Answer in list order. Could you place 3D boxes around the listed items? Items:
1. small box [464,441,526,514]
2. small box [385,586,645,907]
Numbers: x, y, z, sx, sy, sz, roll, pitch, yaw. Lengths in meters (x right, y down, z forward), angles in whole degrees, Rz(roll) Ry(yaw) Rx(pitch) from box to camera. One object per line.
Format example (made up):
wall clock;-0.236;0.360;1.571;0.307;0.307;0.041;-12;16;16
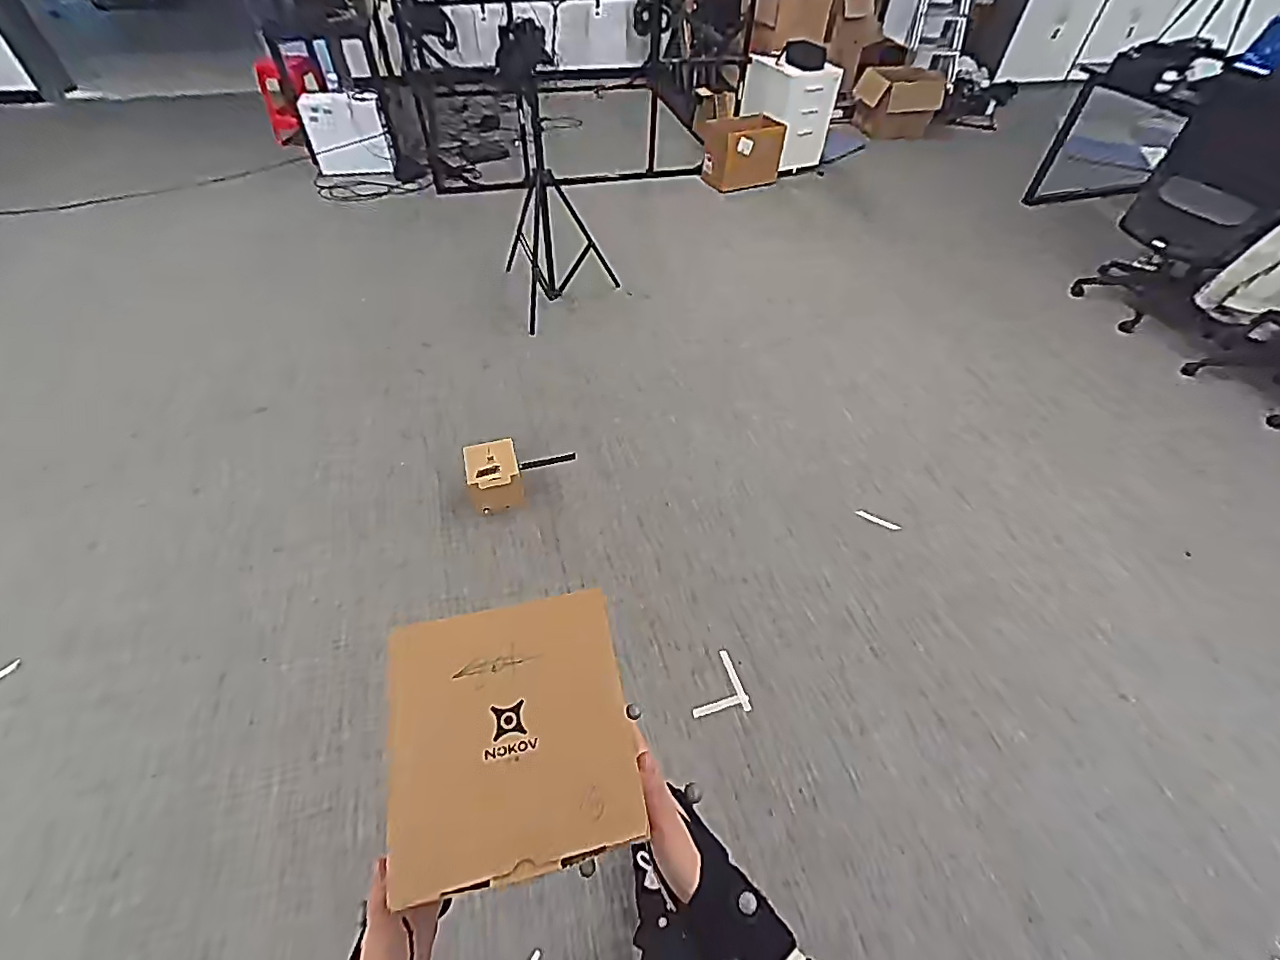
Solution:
small box;-0.489;-0.002;1.838;0.168;0.176;0.179;-13;51;-13
small box;-0.098;0.213;0.449;0.168;0.176;0.179;-10;59;-12
